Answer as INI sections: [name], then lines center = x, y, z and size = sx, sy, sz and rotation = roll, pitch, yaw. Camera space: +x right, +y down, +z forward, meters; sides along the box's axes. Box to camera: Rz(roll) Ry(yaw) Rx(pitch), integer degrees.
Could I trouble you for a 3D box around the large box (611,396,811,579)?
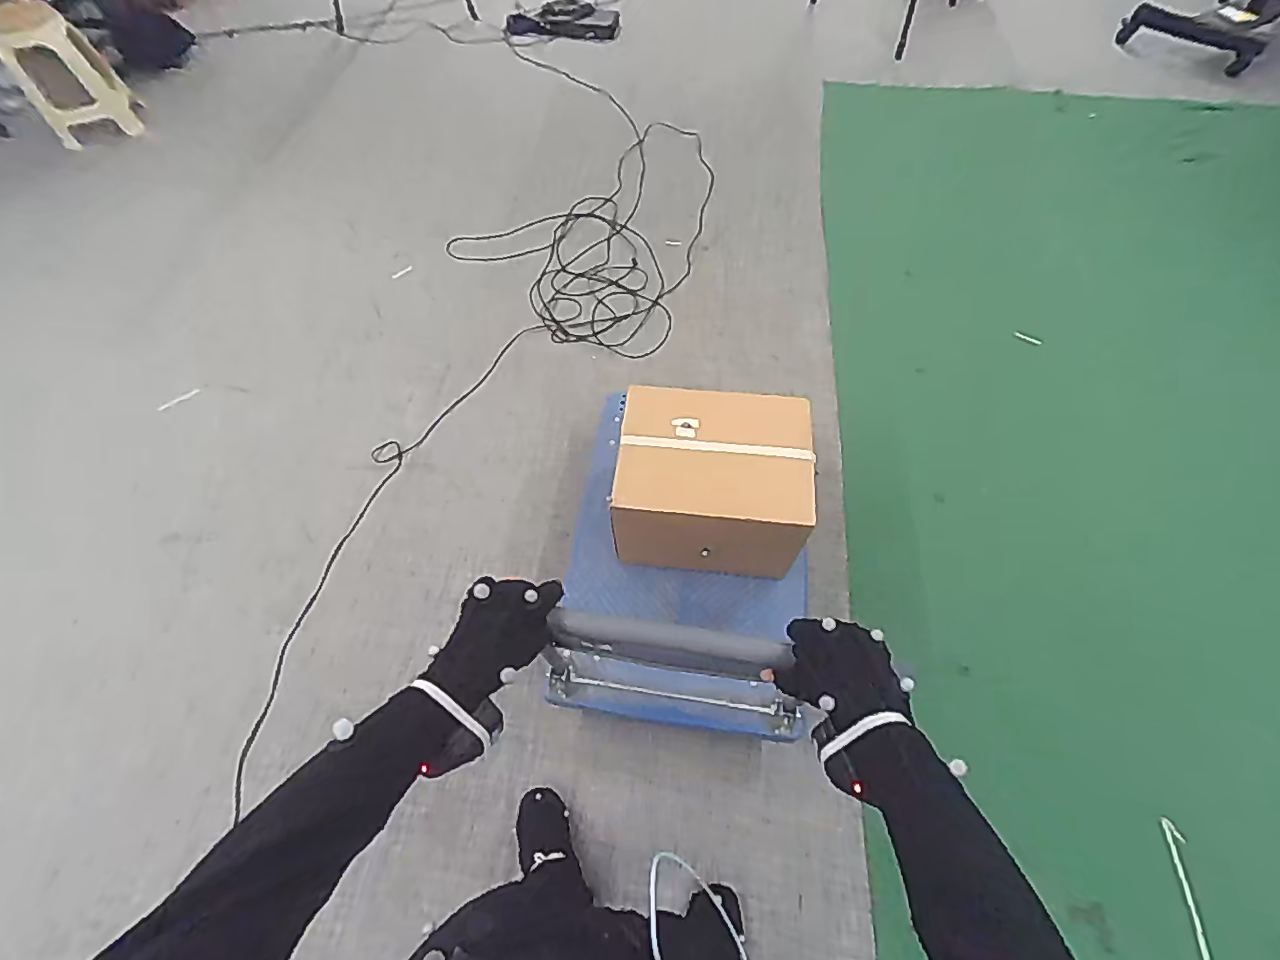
[large box]
center = 0.161, 0.027, 1.276
size = 0.408, 0.320, 0.320
rotation = 5, 60, 5
